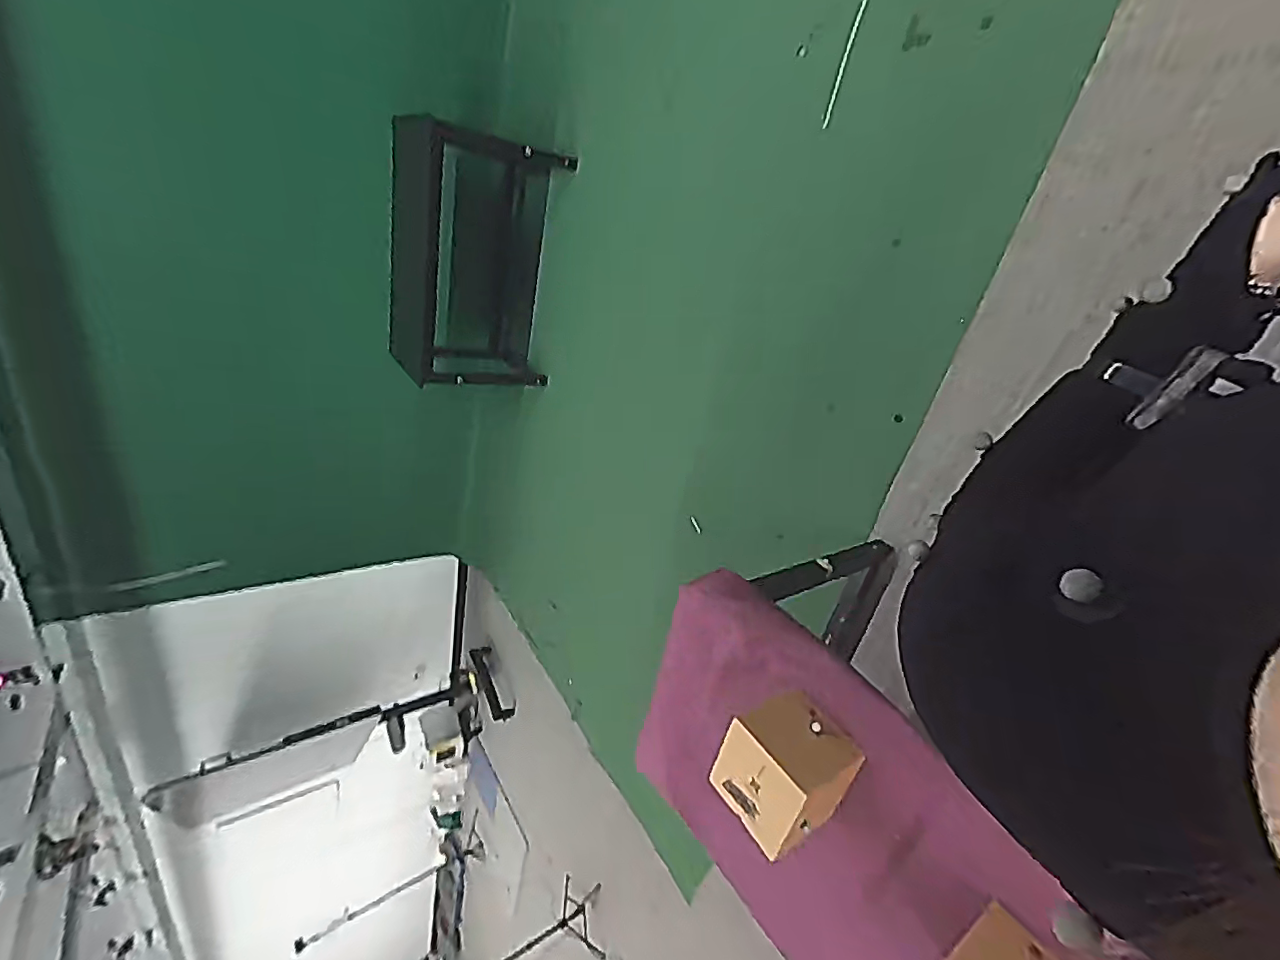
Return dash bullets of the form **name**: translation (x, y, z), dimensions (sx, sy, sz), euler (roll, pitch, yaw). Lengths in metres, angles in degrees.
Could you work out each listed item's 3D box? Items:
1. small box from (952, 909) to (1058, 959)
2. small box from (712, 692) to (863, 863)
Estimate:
- **small box**: translation (0.476, 0.721, 0.698), dimensions (0.168, 0.176, 0.179), euler (37, 125, 43)
- **small box**: translation (0.259, 0.514, 0.955), dimensions (0.168, 0.176, 0.179), euler (39, 125, 43)
